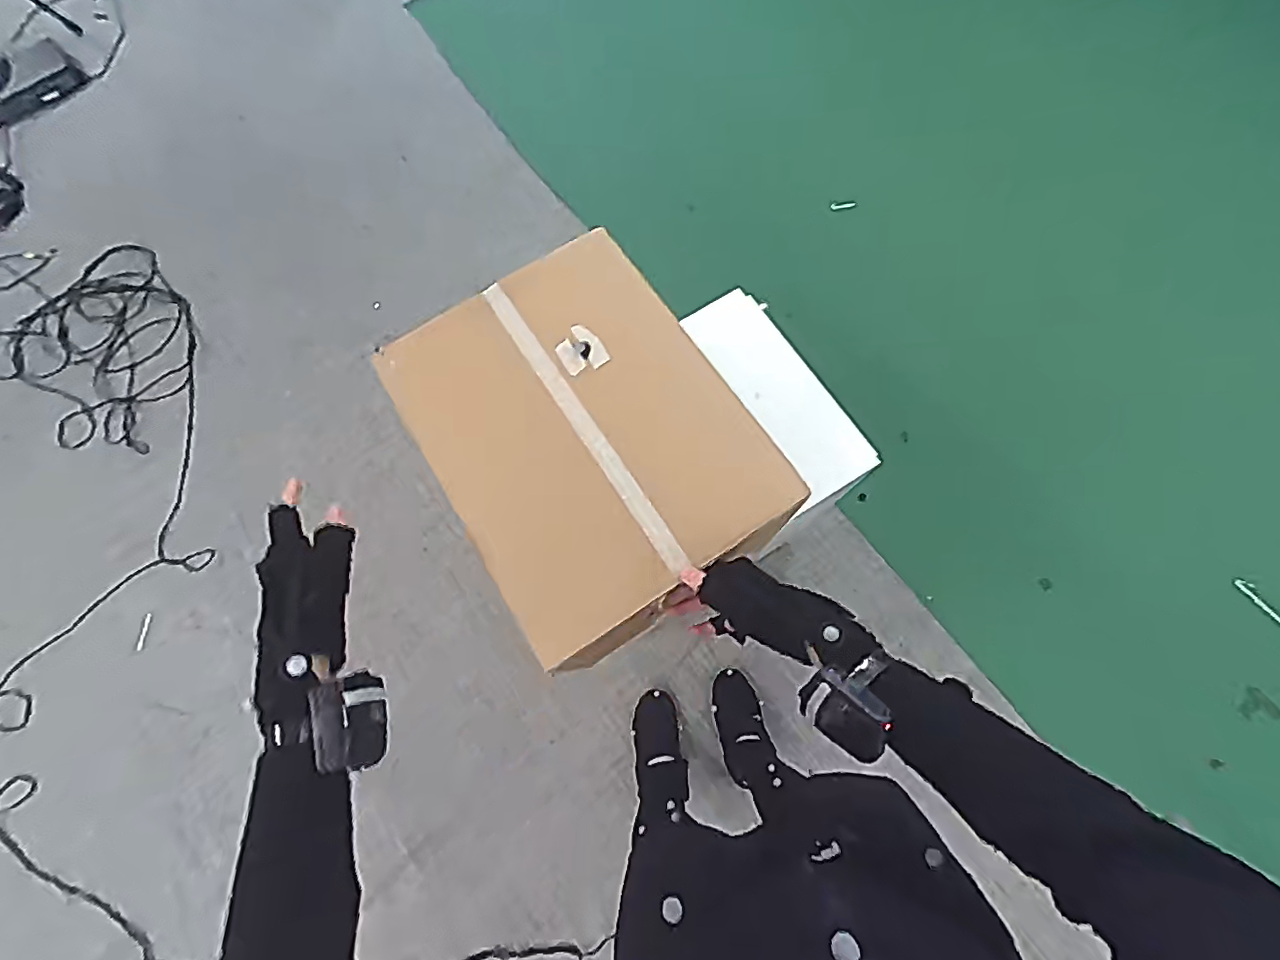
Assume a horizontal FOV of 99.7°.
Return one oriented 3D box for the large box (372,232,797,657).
[{"bbox_3d":[-0.063,-0.022,0.723,0.320,0.320,0.408,-33,73,-8],"label":"large box"}]
